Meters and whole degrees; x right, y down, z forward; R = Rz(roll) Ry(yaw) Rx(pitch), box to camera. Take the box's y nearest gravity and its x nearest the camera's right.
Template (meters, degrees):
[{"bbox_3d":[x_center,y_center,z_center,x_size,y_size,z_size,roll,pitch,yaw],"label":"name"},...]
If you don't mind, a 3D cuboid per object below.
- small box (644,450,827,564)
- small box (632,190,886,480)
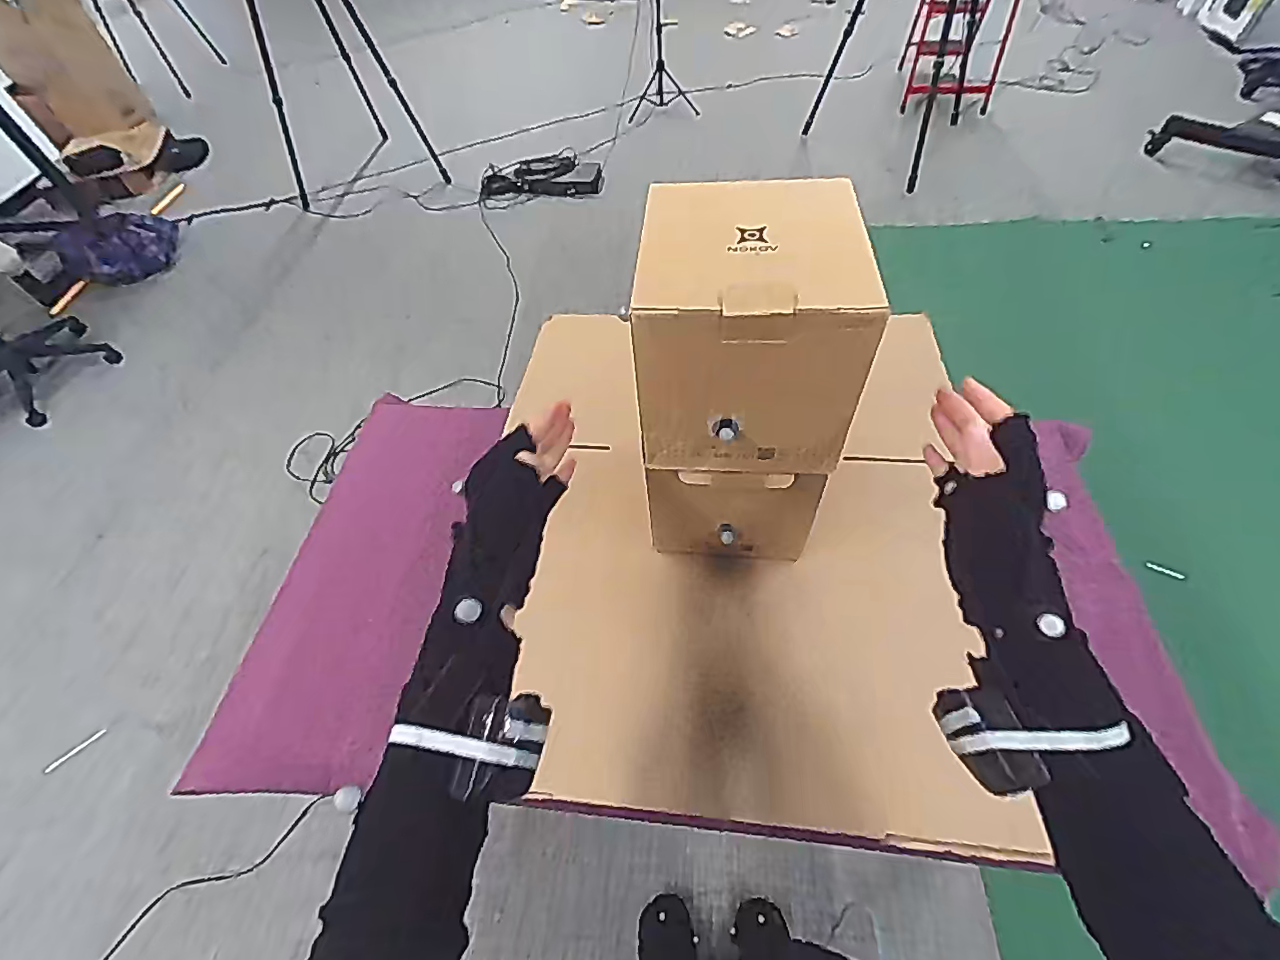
[{"bbox_3d":[0.100,-0.029,0.596,0.168,0.176,0.179,3,54,8],"label":"small box"},{"bbox_3d":[0.087,-0.121,0.461,0.168,0.176,0.179,1,54,6],"label":"small box"}]
